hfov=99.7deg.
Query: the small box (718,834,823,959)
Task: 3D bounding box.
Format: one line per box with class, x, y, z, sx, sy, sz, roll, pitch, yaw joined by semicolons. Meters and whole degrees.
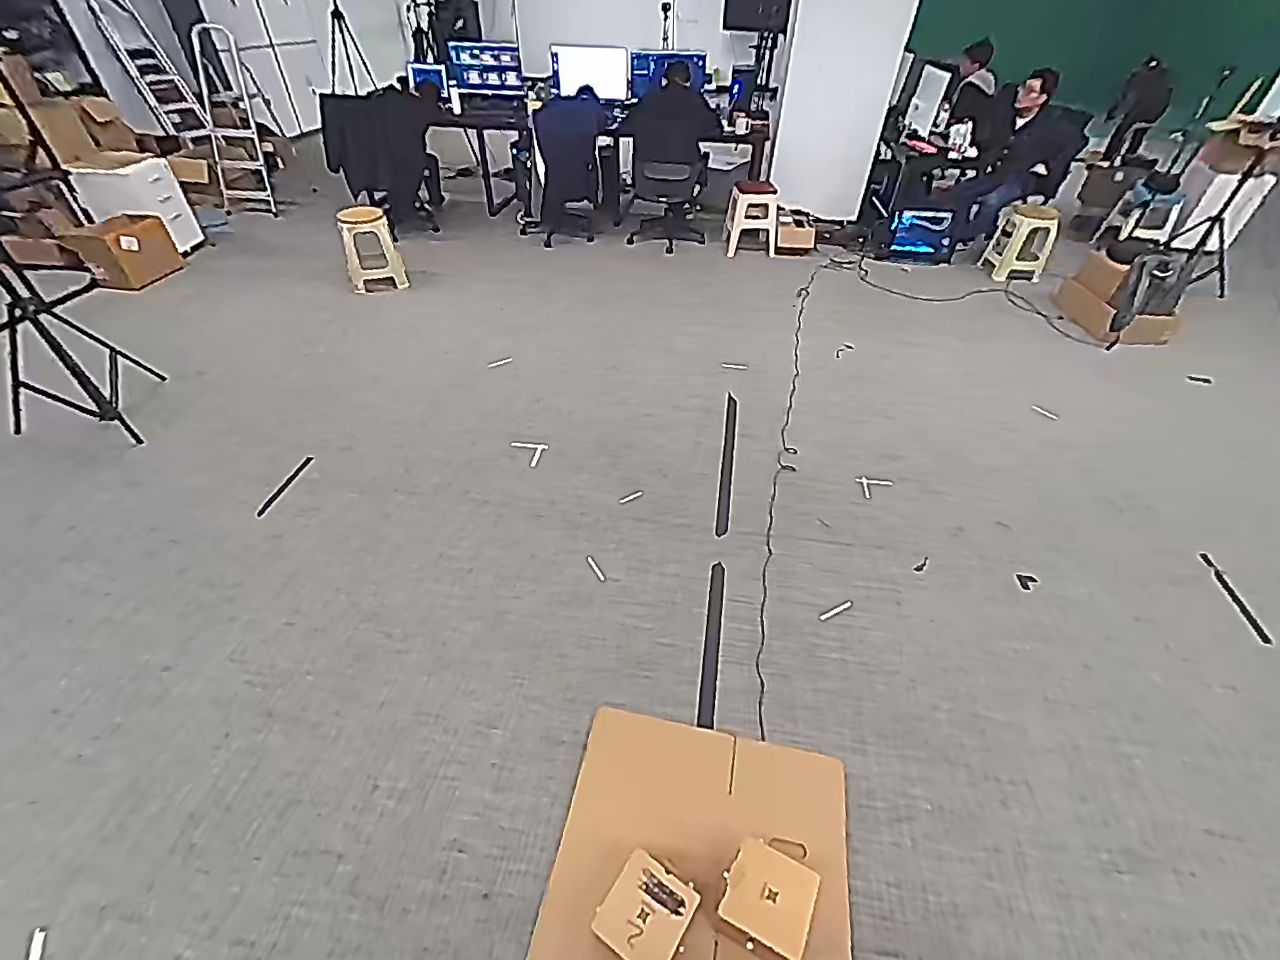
small box;0.286;0.936;1.202;0.179;0.176;0.168;18;47;22
